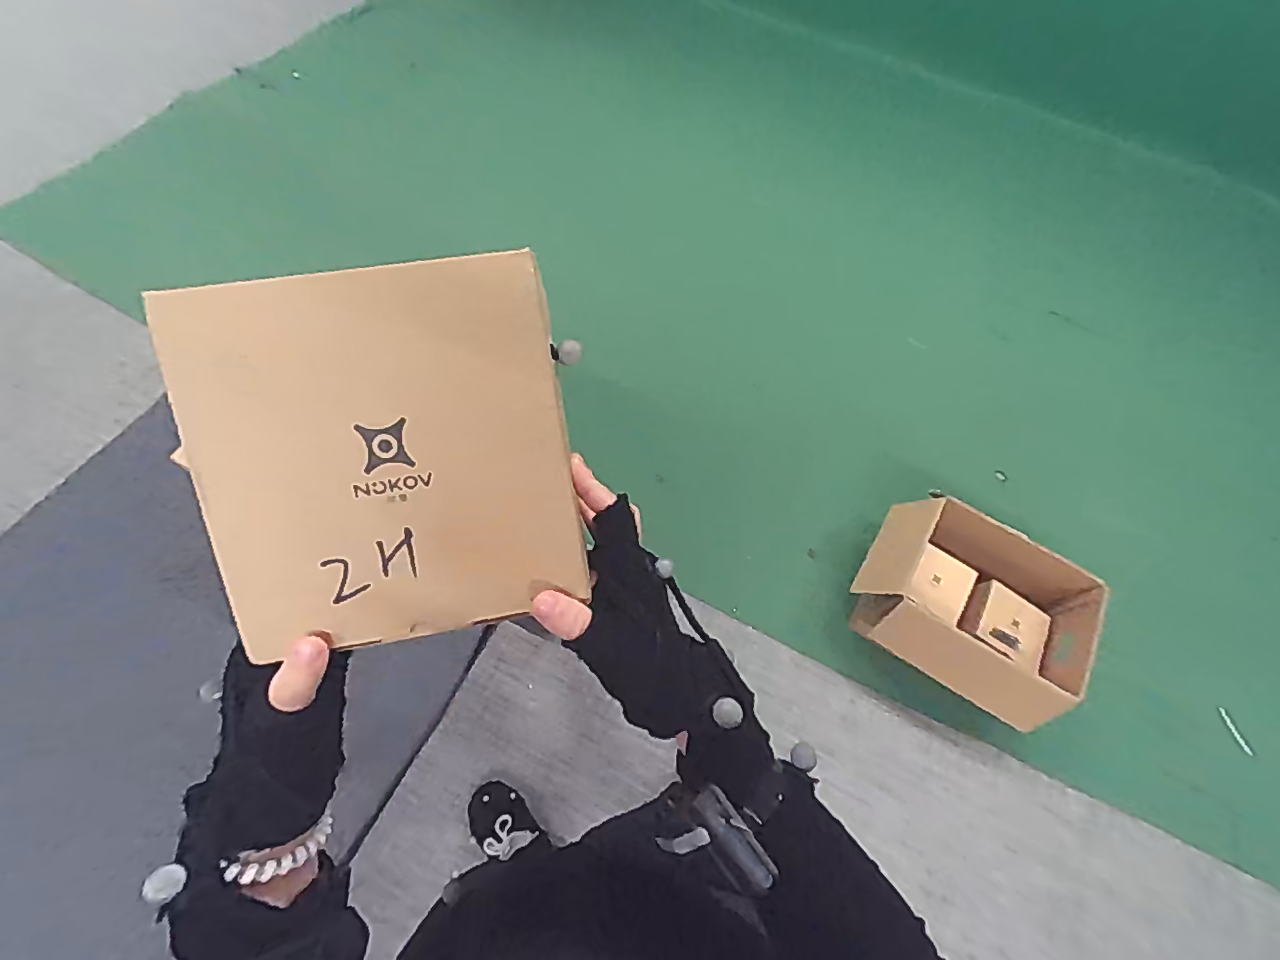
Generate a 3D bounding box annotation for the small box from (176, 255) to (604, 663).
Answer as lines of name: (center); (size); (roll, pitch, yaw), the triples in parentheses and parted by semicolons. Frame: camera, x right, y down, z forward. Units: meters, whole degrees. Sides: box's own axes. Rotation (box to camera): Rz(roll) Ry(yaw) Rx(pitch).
small box: (-0.119, -0.019, 0.331); (0.168, 0.176, 0.179); (-9, 100, -6)
